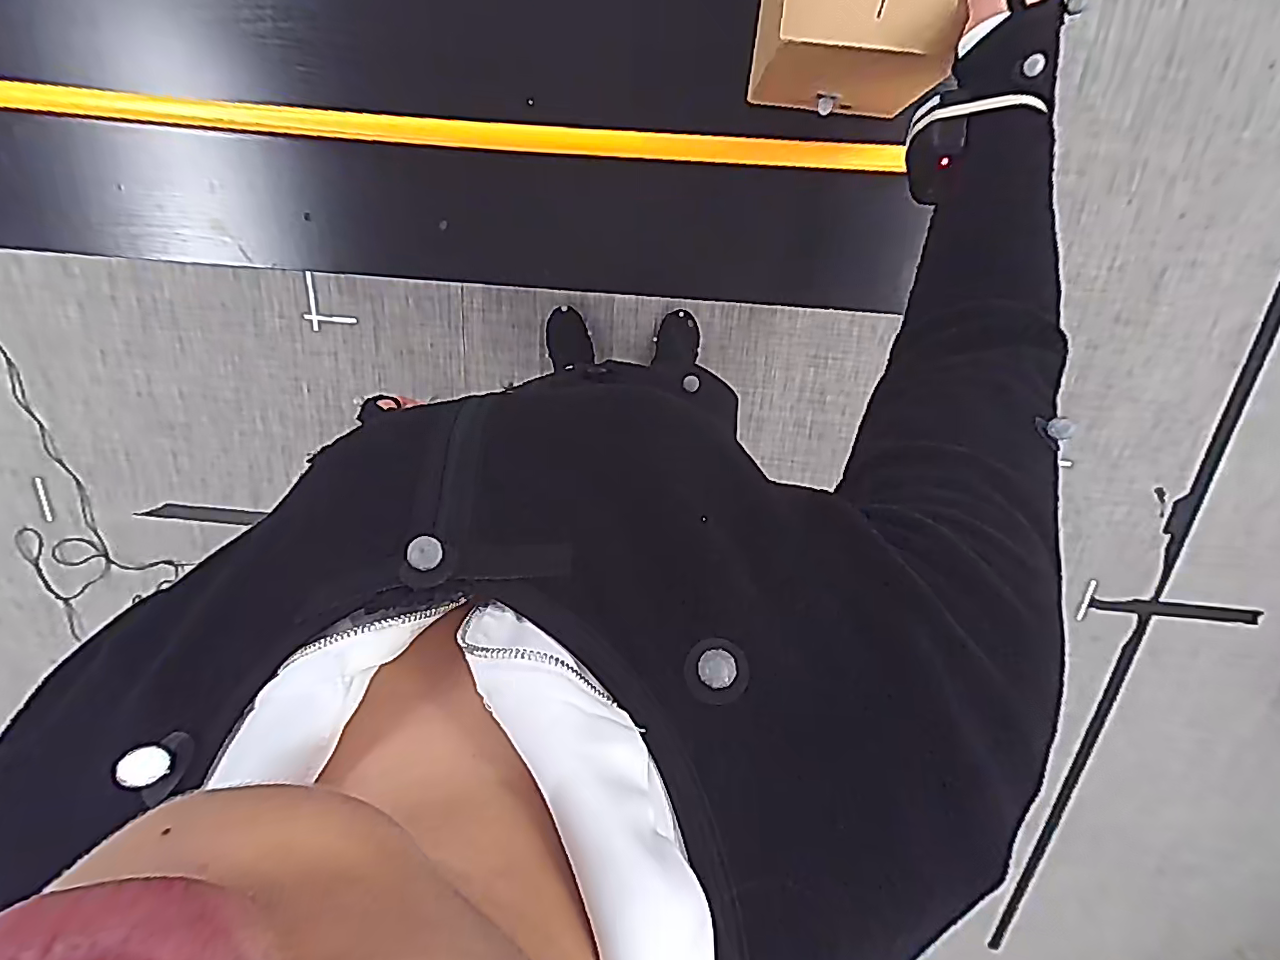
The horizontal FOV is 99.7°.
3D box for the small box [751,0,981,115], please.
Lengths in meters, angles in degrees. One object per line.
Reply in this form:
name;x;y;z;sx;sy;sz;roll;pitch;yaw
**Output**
small box;0.208;-0.476;0.507;0.168;0.176;0.179;6;110;0
